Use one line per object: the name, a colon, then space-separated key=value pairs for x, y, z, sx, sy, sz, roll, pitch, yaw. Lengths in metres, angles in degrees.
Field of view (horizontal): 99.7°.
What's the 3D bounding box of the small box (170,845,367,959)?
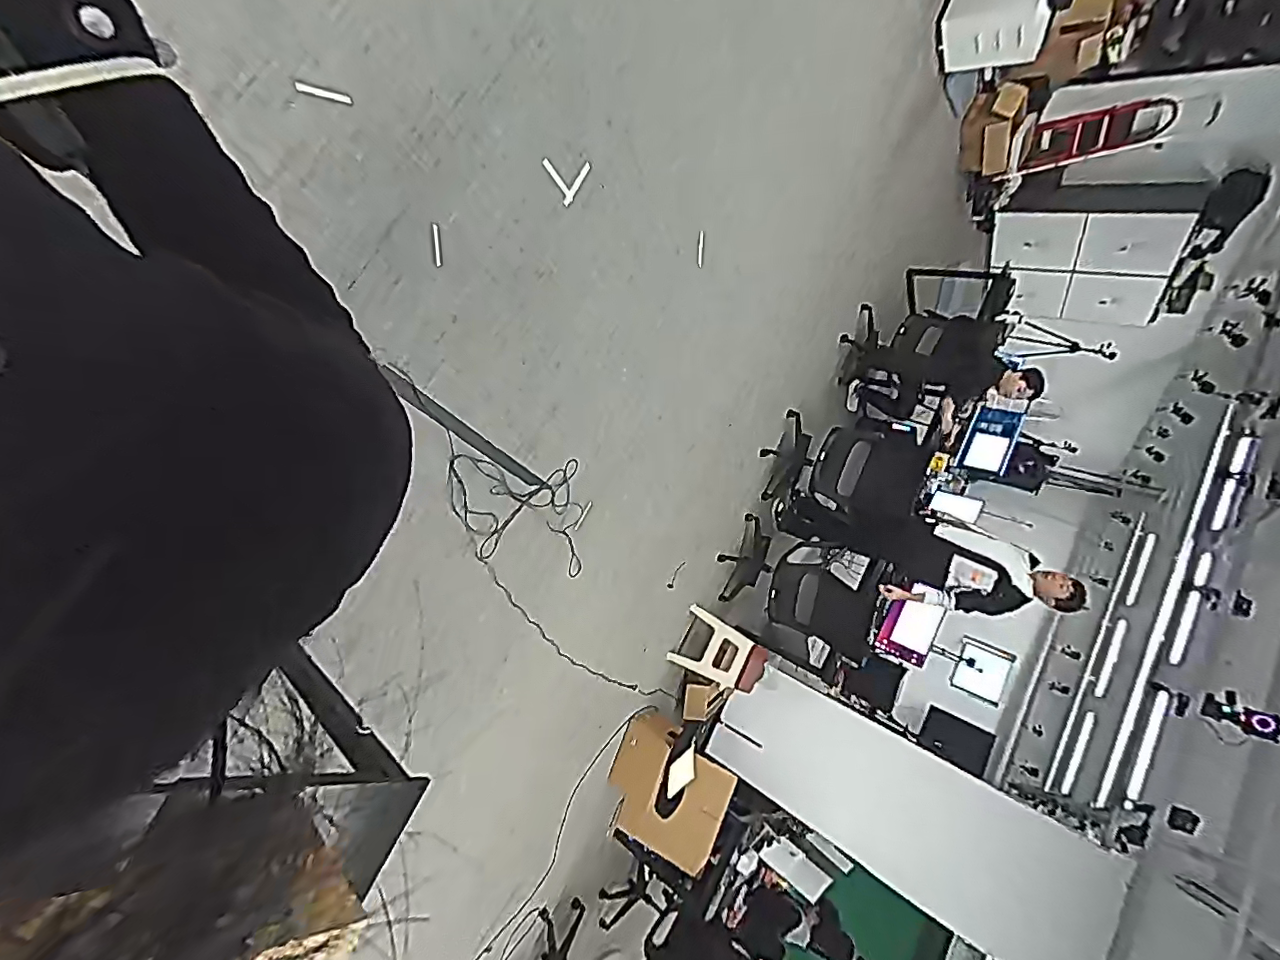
small box: x=-0.577 y=0.712 z=0.840 sx=0.179 sy=0.176 sz=0.168 roll=38 pitch=78 yaw=-54
